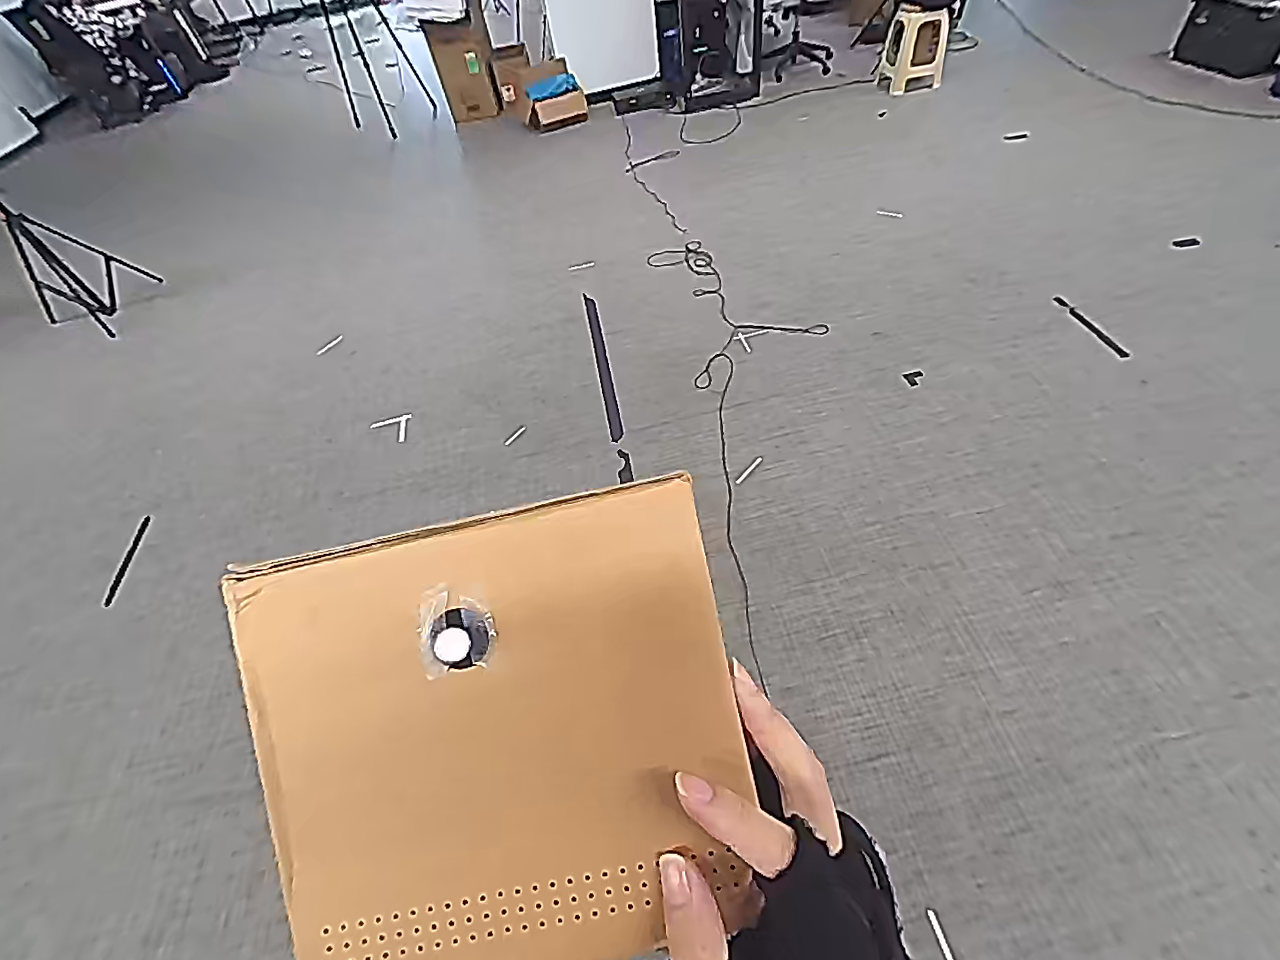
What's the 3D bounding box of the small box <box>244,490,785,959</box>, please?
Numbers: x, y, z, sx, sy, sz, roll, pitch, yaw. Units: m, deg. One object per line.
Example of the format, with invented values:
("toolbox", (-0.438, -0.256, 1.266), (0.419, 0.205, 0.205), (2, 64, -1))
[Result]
("small box", (-0.044, 0.105, 0.274), (0.179, 0.168, 0.176), (-12, 90, 2))
